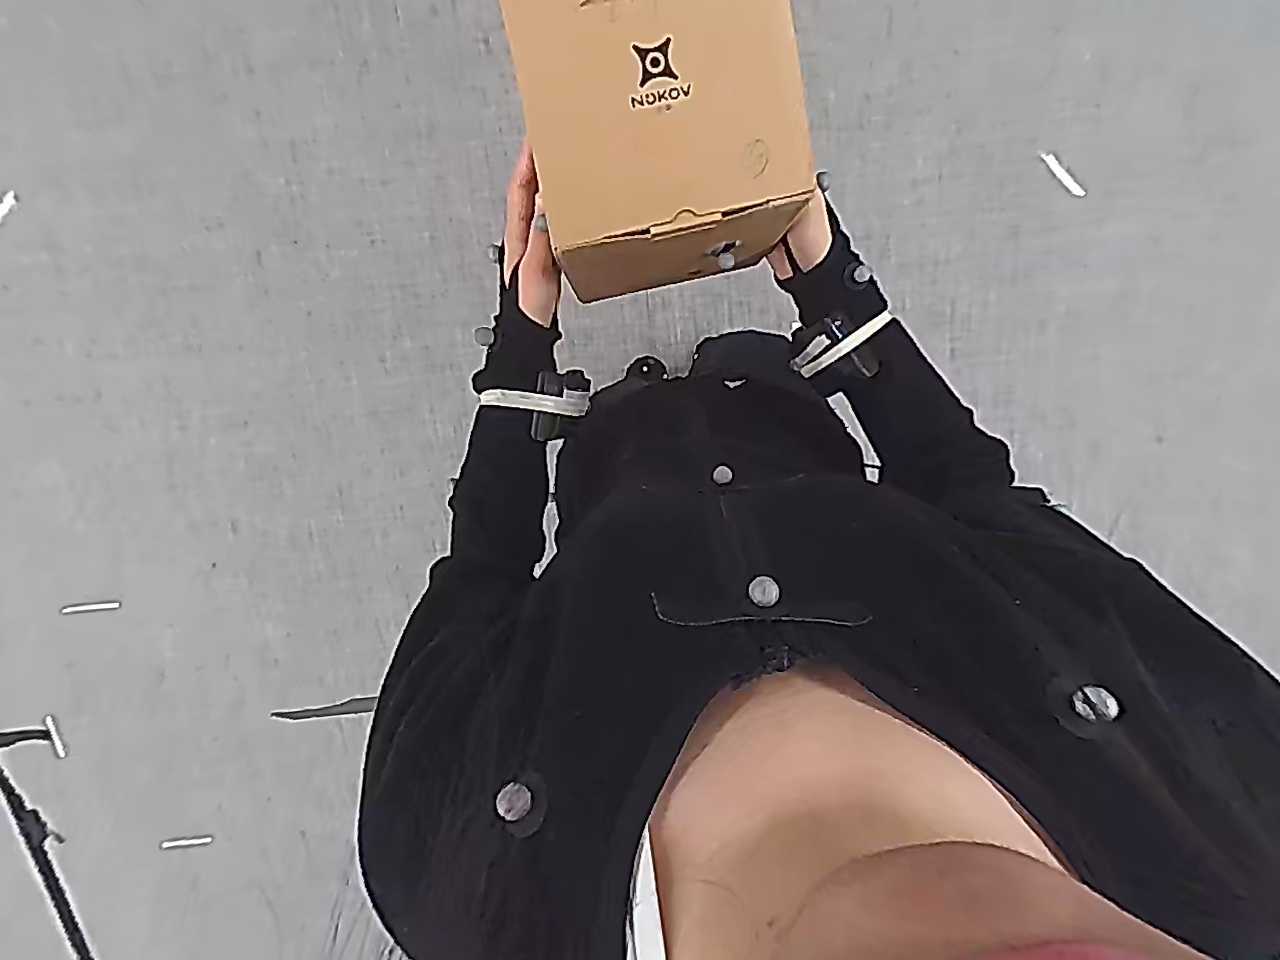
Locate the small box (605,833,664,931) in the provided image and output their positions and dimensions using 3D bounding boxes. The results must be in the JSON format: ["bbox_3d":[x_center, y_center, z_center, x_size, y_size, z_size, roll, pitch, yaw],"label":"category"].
[{"bbox_3d":[-0.016,1.250,1.688,0.168,0.176,0.179,-7,102,-1],"label":"small box"}]
